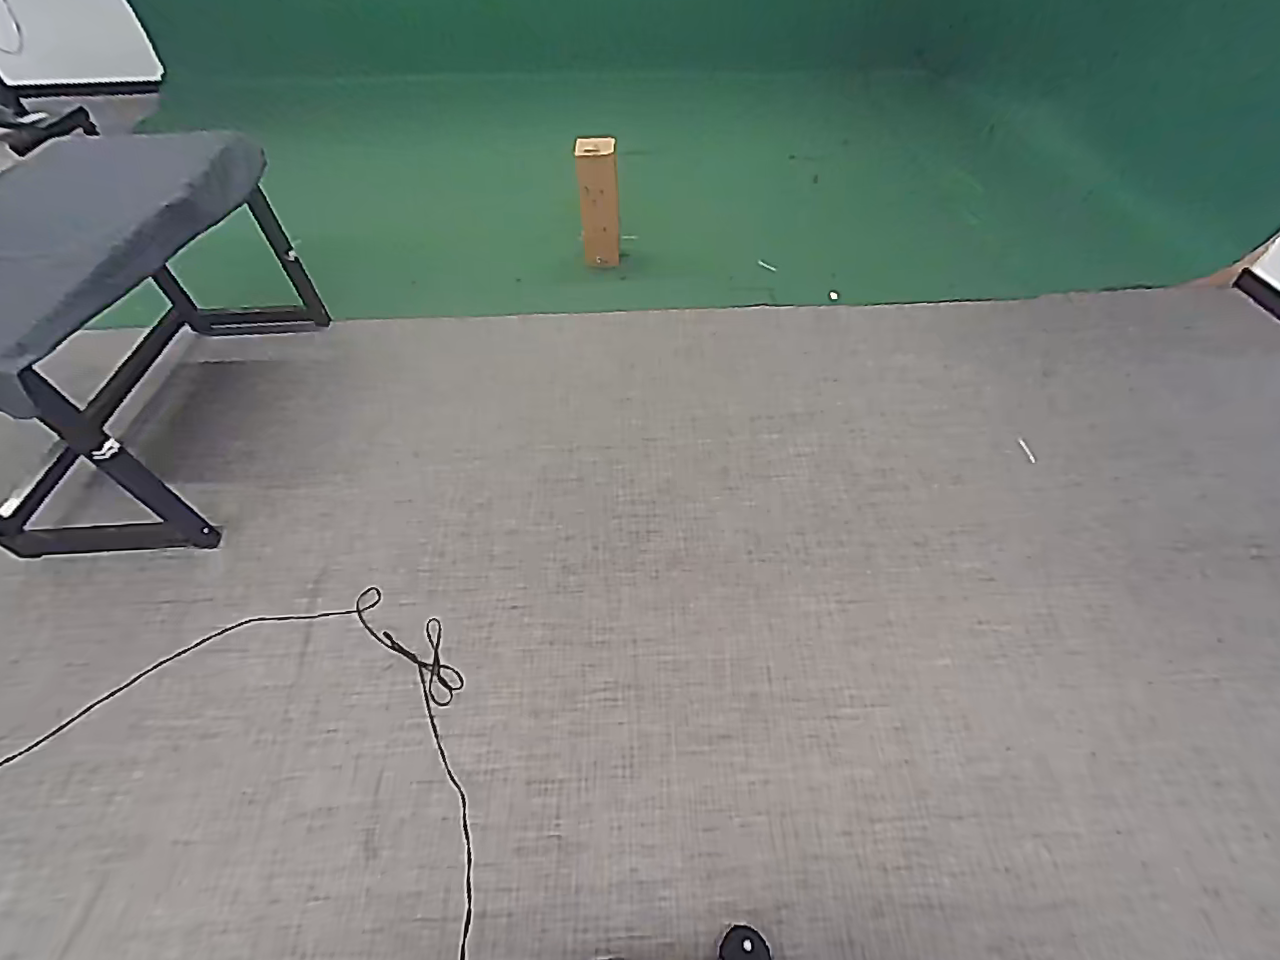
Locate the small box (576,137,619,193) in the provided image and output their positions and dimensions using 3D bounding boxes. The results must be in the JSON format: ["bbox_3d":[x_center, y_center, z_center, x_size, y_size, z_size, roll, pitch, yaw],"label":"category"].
[{"bbox_3d":[-0.182,-1.375,2.366,0.168,0.176,0.179,0,51,1],"label":"small box"}]

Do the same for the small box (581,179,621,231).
[{"bbox_3d":[-0.174,-1.268,2.491,0.168,0.176,0.179,0,51,2],"label":"small box"}]

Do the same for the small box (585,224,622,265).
[{"bbox_3d":[-0.174,-1.163,2.617,0.168,0.176,0.179,-1,53,1],"label":"small box"}]
